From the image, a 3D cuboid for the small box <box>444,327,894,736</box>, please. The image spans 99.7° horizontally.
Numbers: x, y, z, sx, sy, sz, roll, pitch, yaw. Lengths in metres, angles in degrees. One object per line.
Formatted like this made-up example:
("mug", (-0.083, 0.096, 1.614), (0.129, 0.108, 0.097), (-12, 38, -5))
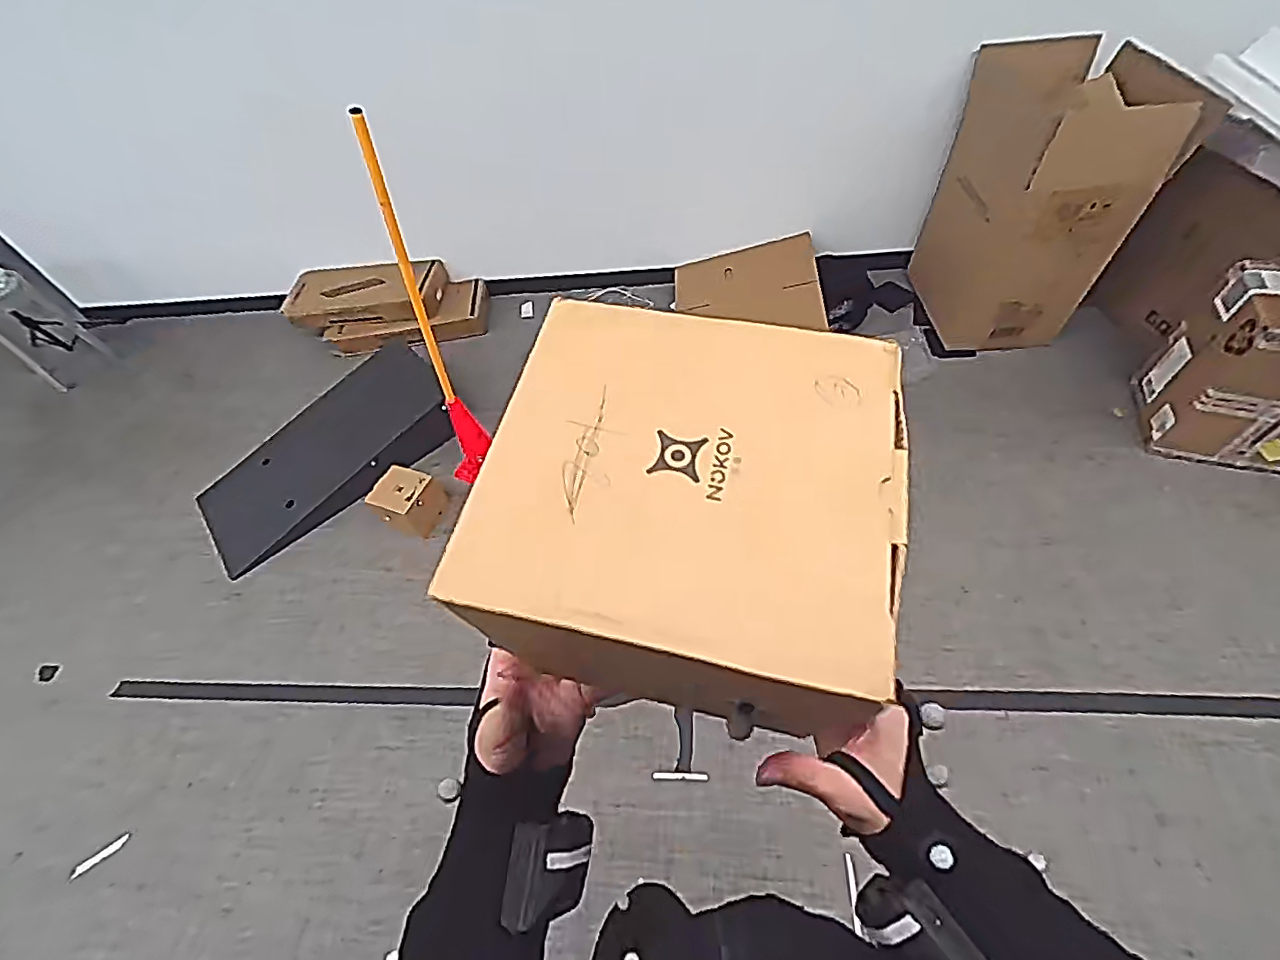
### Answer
("small box", (0.027, 0.040, 0.311), (0.179, 0.176, 0.168), (9, 62, 10))
